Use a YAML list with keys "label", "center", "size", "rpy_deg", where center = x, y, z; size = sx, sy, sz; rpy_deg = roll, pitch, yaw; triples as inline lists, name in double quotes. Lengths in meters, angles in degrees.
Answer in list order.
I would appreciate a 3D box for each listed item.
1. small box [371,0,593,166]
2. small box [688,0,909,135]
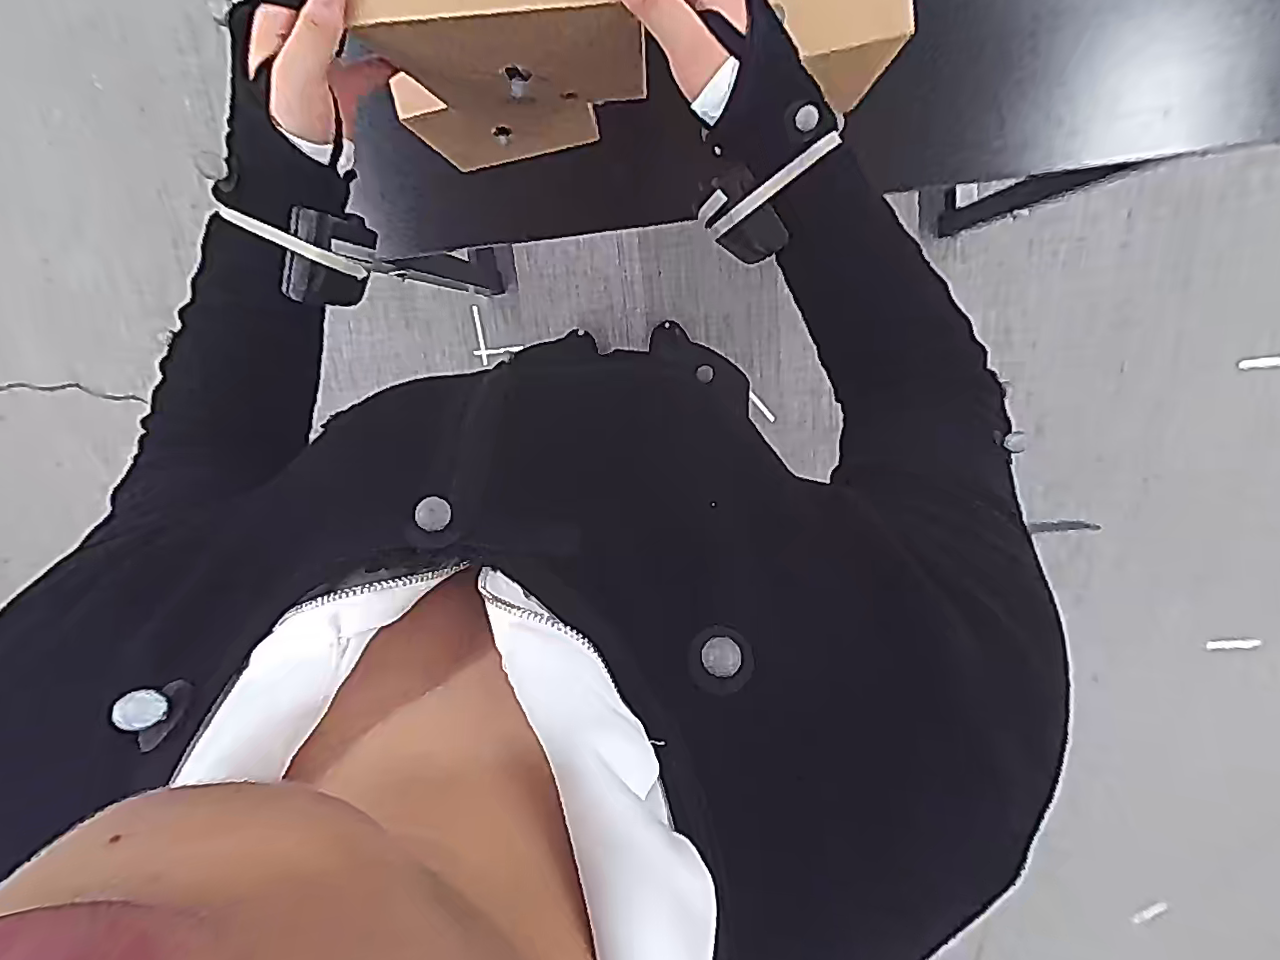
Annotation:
- label: "small box"
  center: [-0.151, -0.453, 0.561]
  size: [0.179, 0.176, 0.168]
  rpy_deg: [-10, 104, 6]
- label: "small box"
  center: [0.142, -0.477, 0.541]
  size: [0.179, 0.176, 0.168]
  rpy_deg: [-10, 103, 6]
